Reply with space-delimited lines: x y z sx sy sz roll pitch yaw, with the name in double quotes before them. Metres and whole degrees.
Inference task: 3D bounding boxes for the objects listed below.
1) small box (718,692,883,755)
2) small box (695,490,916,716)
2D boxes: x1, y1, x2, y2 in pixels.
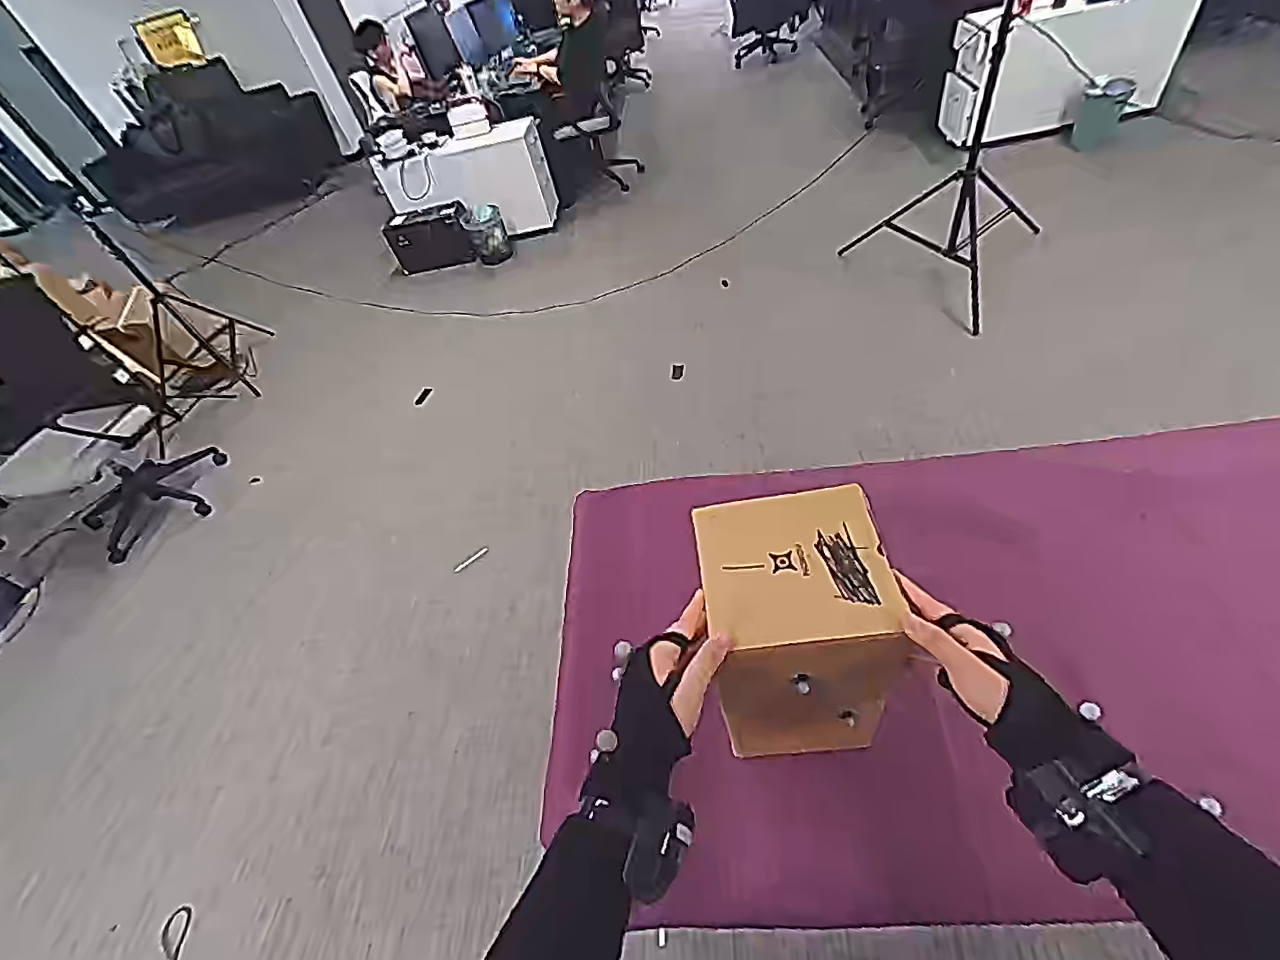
"small box" 0.189 0.240 0.694 0.179 0.176 0.168 -8 47 7
"small box" 0.159 0.134 0.572 0.179 0.176 0.168 -9 47 7
